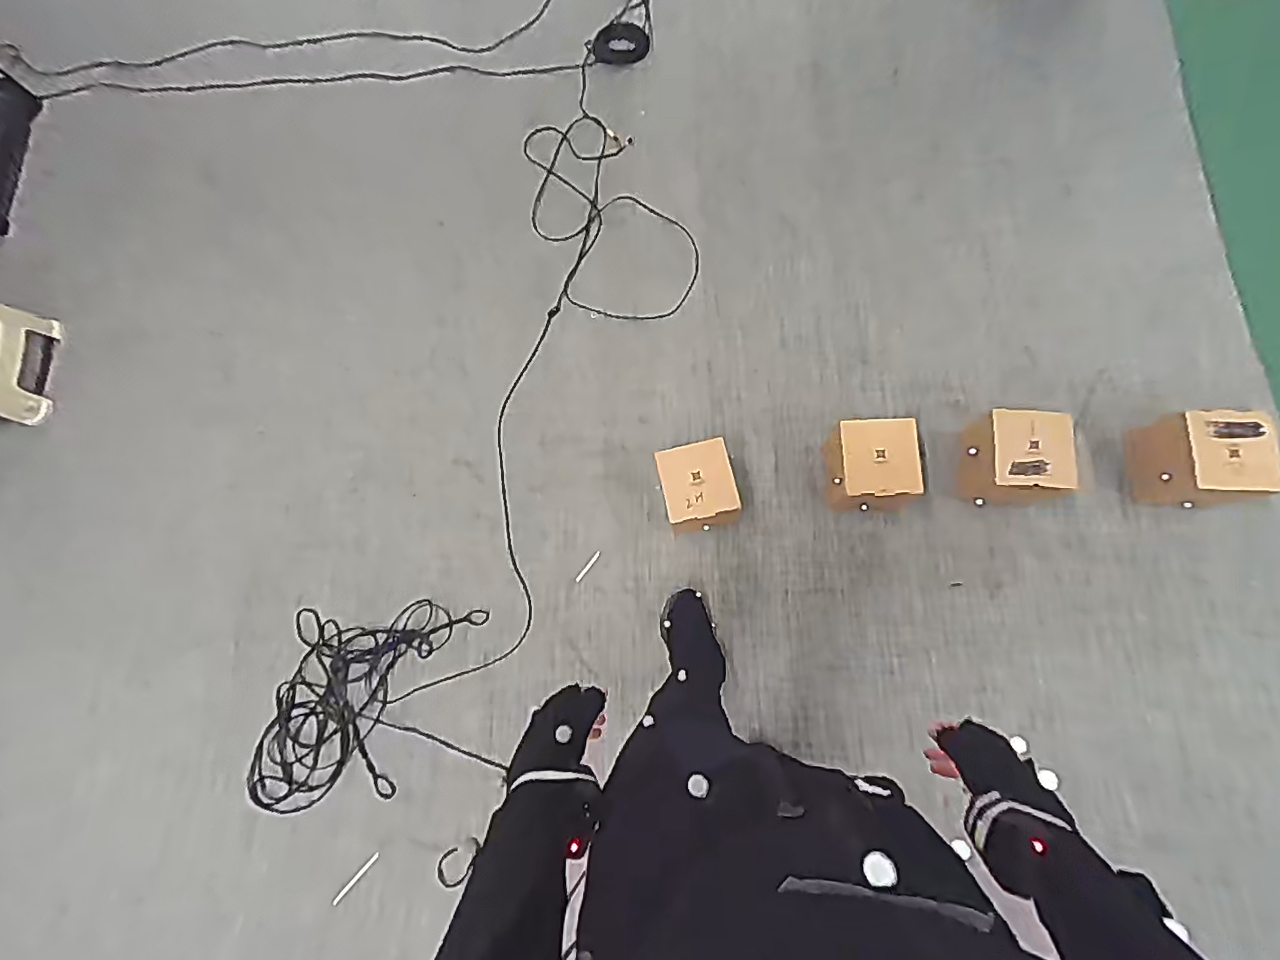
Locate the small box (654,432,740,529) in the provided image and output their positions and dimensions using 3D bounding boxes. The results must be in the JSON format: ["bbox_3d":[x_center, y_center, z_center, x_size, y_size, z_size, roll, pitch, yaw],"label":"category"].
[{"bbox_3d":[0.135,0.007,1.304,0.168,0.176,0.179,-14,76,4],"label":"small box"}]

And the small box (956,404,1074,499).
[{"bbox_3d":[0.850,-0.060,1.241,0.168,0.176,0.179,4,76,7],"label":"small box"}]

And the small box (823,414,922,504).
[{"bbox_3d":[0.537,-0.045,1.273,0.168,0.176,0.179,-2,77,6],"label":"small box"}]
